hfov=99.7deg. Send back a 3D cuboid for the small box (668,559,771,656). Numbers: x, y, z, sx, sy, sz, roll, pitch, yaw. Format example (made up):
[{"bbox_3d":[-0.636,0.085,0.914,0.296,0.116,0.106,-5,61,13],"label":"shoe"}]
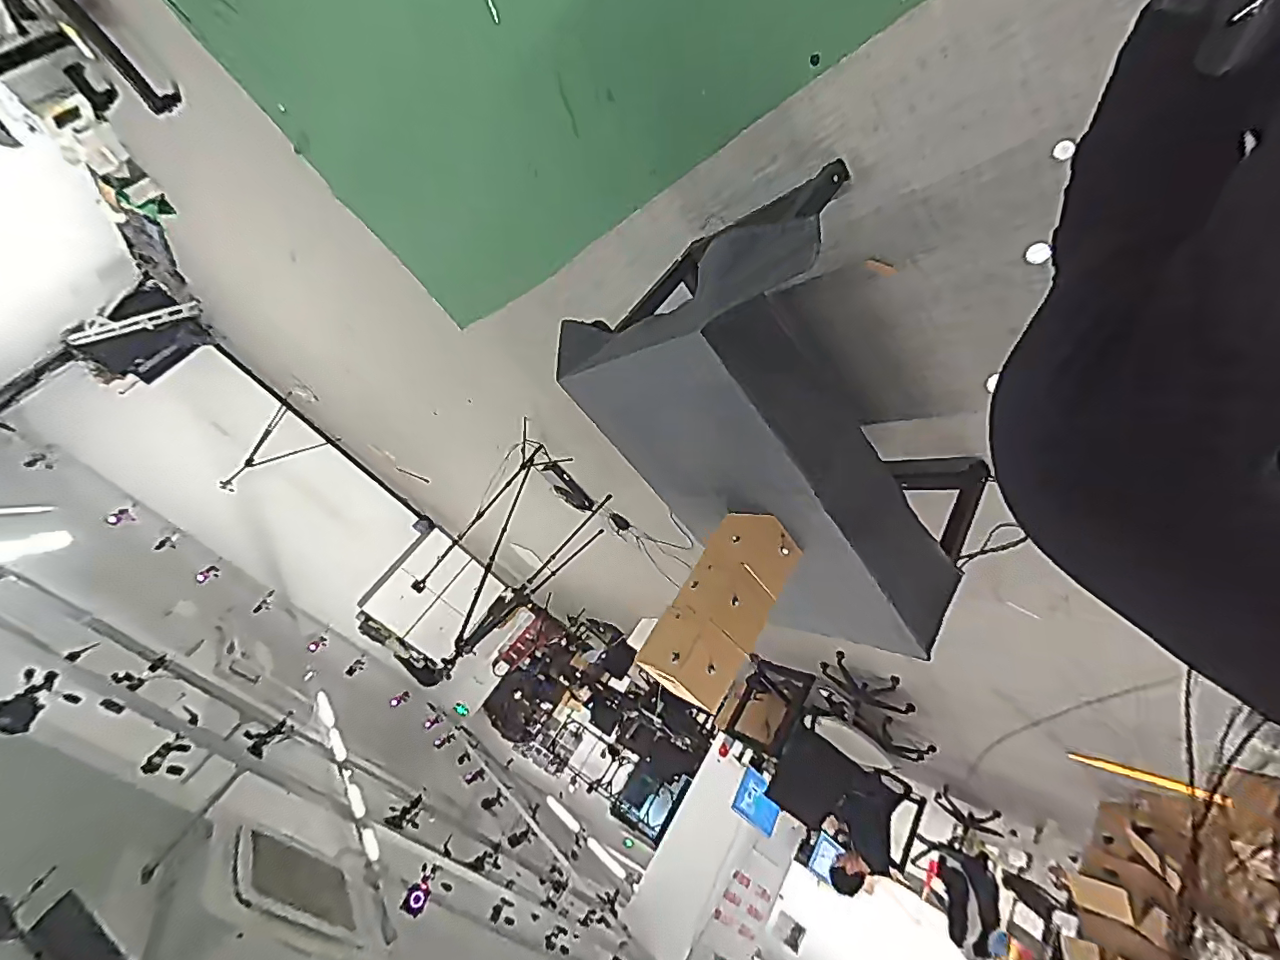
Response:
[{"bbox_3d":[0.213,0.329,1.430,0.179,0.176,0.168,48,154,-23],"label":"small box"}]

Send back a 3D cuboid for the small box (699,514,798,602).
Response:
[{"bbox_3d":[0.302,0.208,1.493,0.179,0.176,0.168,-2,136,53],"label":"small box"}]
